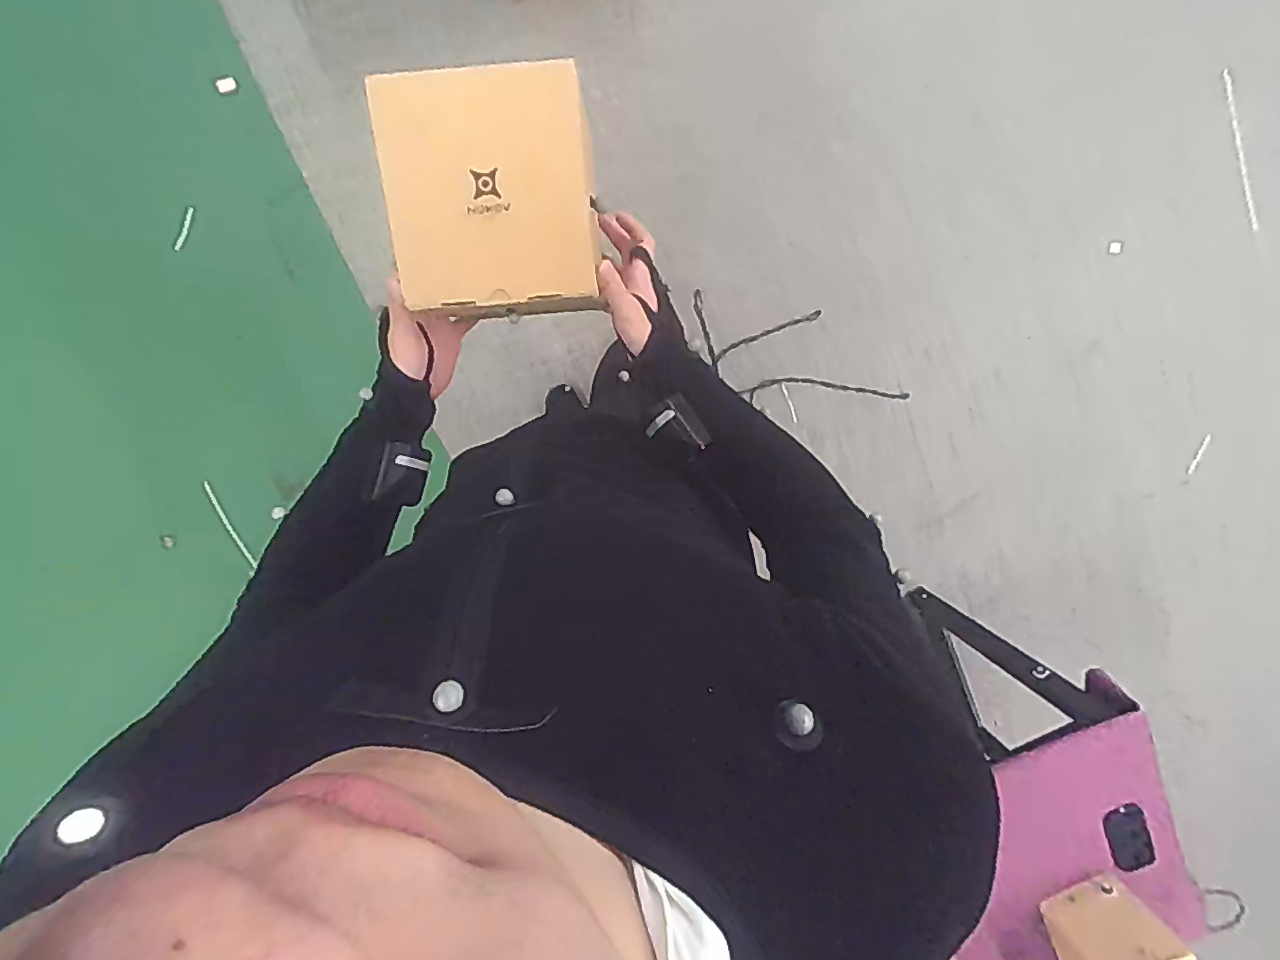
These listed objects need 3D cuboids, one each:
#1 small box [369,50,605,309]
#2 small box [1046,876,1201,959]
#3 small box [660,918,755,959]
[{"bbox_3d":[-0.124,-0.262,0.513,0.168,0.176,0.179,-5,106,1],"label":"small box"},{"bbox_3d":[0.948,0.926,1.060,0.168,0.176,0.179,-25,102,1],"label":"small box"},{"bbox_3d":[0.150,0.988,1.012,0.168,0.176,0.179,-26,101,0],"label":"small box"}]
